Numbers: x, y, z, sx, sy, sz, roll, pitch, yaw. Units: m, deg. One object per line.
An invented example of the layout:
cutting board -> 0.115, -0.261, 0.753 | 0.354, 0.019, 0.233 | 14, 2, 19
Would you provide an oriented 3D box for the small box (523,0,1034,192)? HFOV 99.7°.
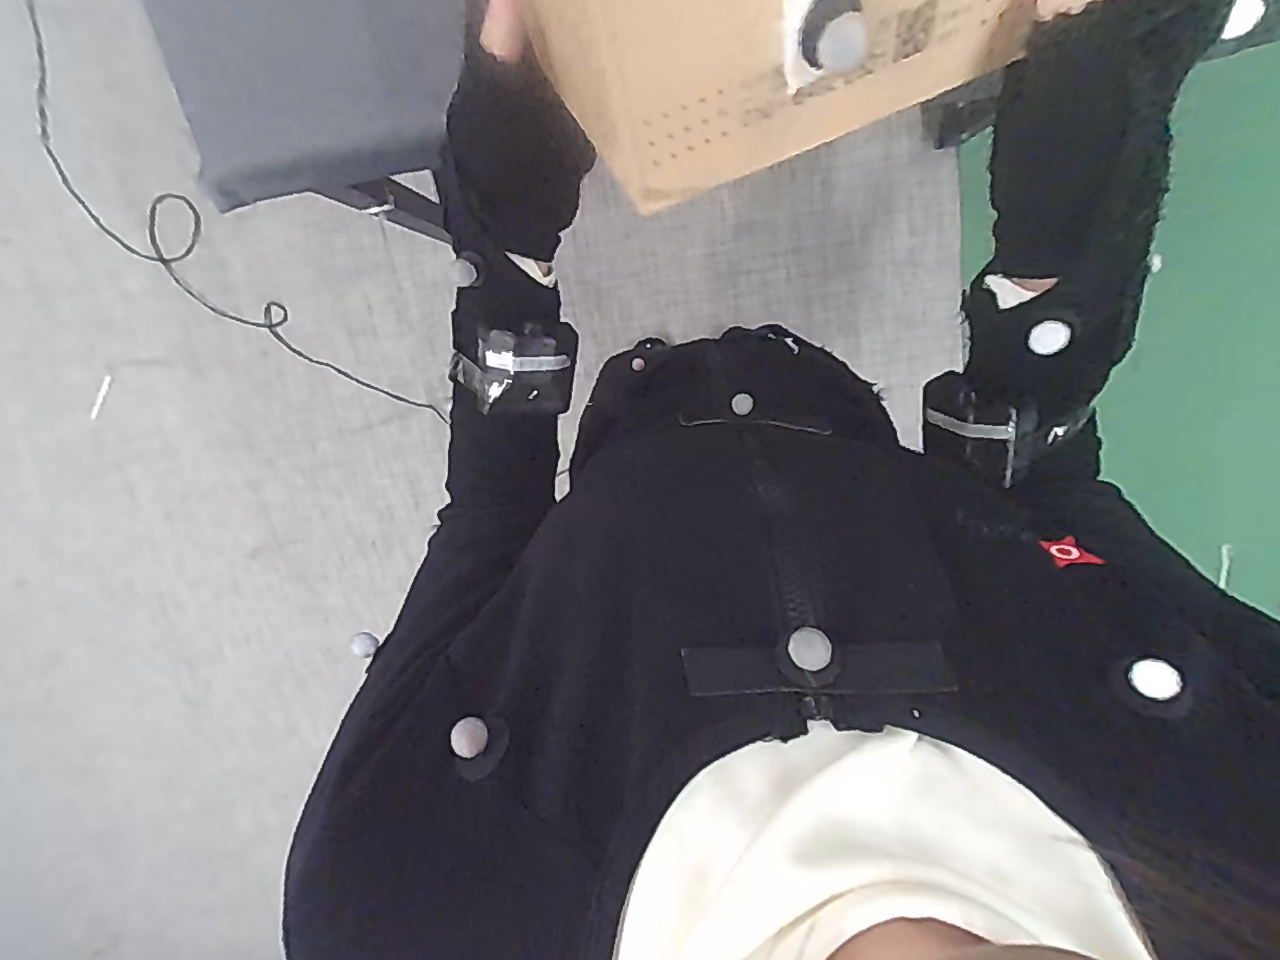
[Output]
small box -> 0.031, -0.240, 0.188 | 0.168, 0.179, 0.176 | -26, 147, 0
